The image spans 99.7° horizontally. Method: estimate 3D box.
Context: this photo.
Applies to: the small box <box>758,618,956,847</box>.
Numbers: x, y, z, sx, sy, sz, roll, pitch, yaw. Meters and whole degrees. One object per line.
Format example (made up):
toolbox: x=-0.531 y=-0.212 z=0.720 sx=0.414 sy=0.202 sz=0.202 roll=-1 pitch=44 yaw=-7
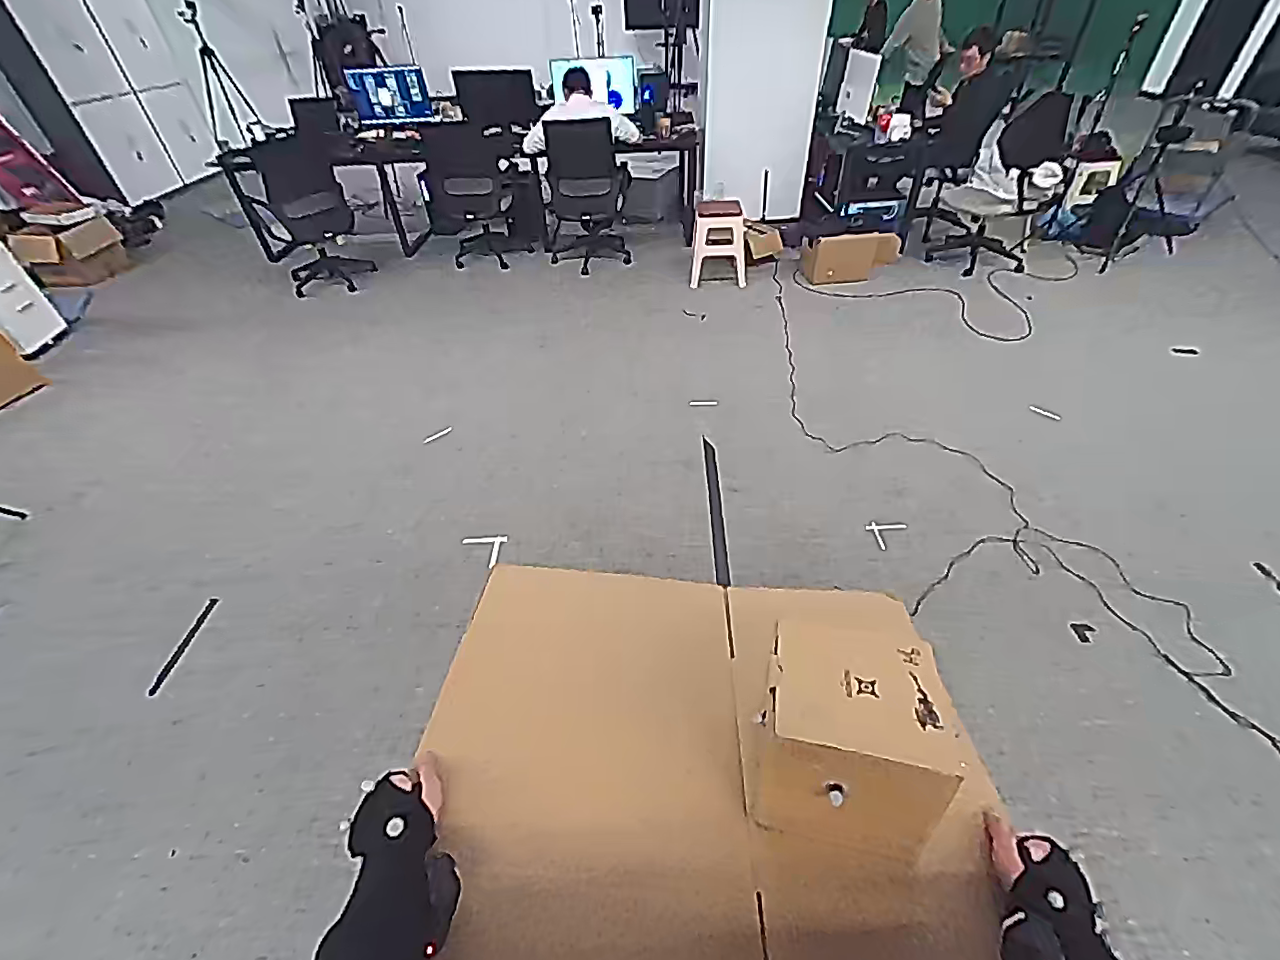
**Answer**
small box: x=0.235 y=0.290 z=0.631 sx=0.179 sy=0.176 sz=0.168 roll=6 pitch=33 yaw=12
